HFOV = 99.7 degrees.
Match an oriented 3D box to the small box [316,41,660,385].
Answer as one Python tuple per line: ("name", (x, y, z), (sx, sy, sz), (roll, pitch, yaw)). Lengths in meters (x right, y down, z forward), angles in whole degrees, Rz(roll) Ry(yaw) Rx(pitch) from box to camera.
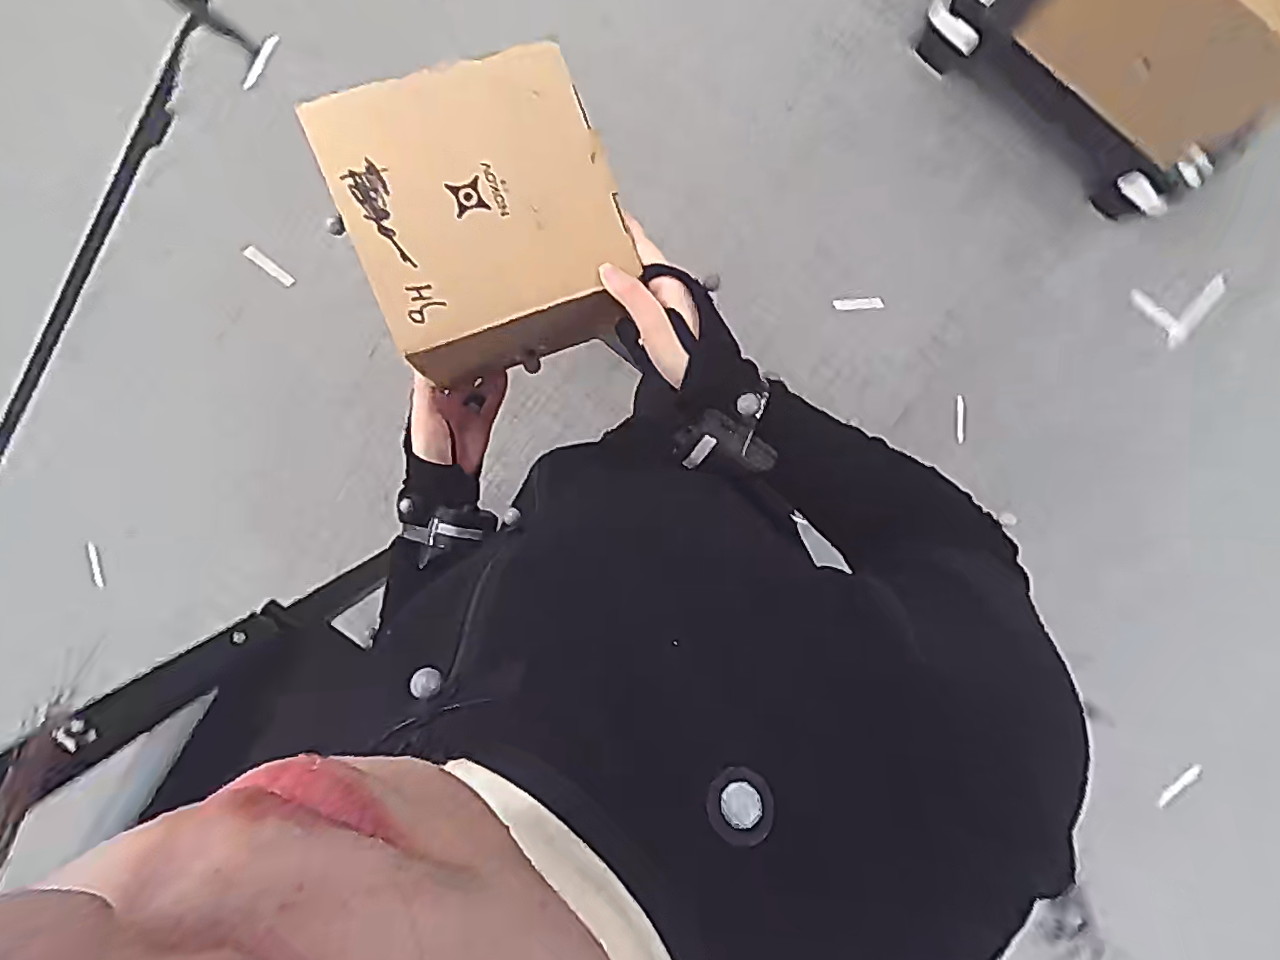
("small box", (-0.108, -0.187, 0.424), (0.179, 0.176, 0.168), (-21, 94, -12))

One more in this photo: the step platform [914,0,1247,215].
("step platform", (0.938, -0.918, 1.147), (0.684, 0.204, 0.286), (43, 100, -2))

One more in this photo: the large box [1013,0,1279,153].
("large box", (0.972, -0.860, 0.912), (0.408, 0.320, 0.320), (37, 100, -1))
